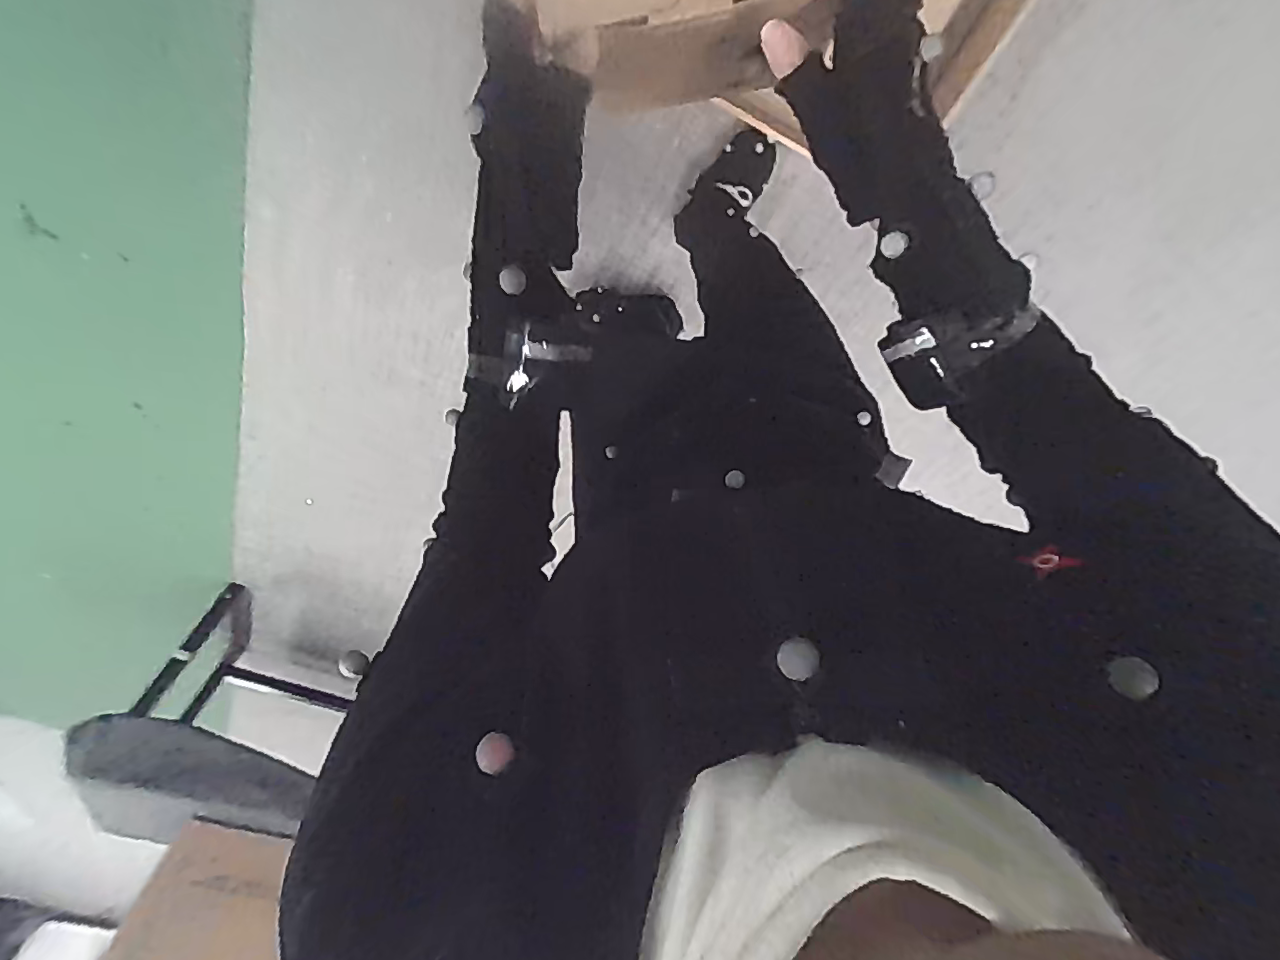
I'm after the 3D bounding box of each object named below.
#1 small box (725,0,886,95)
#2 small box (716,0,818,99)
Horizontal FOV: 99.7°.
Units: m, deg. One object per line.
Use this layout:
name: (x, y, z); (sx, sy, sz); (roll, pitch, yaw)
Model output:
small box: (0.225, -0.653, 0.713); (0.168, 0.176, 0.179); (23, 129, -13)
small box: (0.235, -0.742, 0.850); (0.179, 0.176, 0.168); (21, 128, -13)
